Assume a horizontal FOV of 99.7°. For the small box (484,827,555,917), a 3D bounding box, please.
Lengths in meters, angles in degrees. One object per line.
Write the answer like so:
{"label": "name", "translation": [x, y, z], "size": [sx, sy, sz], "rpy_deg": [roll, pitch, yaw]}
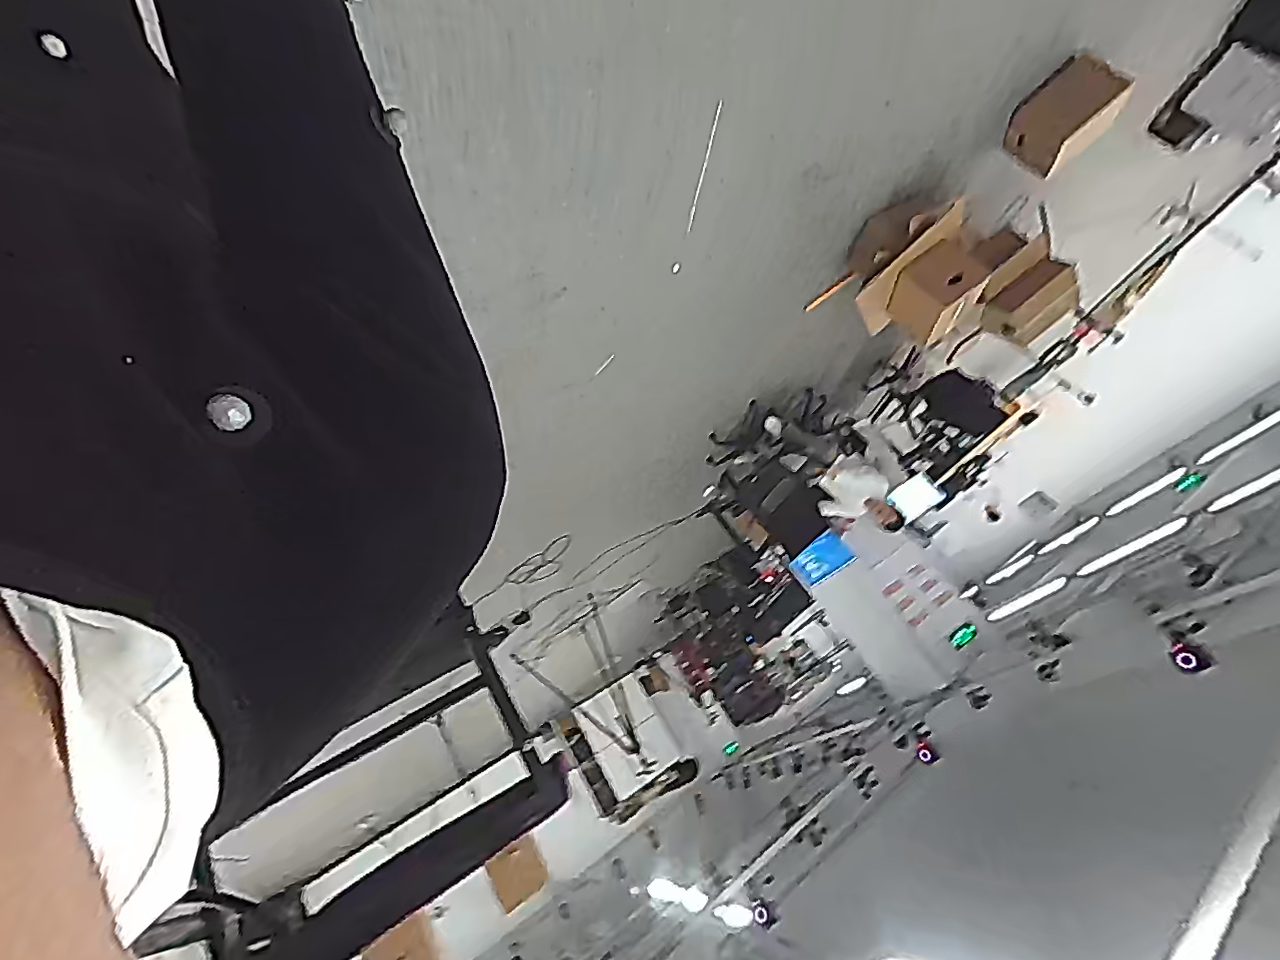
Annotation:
{"label": "small box", "translation": [-0.386, 1.250, 1.739], "size": [0.168, 0.176, 0.179], "rpy_deg": [-27, 156, -23]}

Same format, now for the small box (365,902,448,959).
{"label": "small box", "translation": [-0.692, 1.401, 1.600], "size": [0.179, 0.176, 0.168], "rpy_deg": [-26, 156, -26]}
